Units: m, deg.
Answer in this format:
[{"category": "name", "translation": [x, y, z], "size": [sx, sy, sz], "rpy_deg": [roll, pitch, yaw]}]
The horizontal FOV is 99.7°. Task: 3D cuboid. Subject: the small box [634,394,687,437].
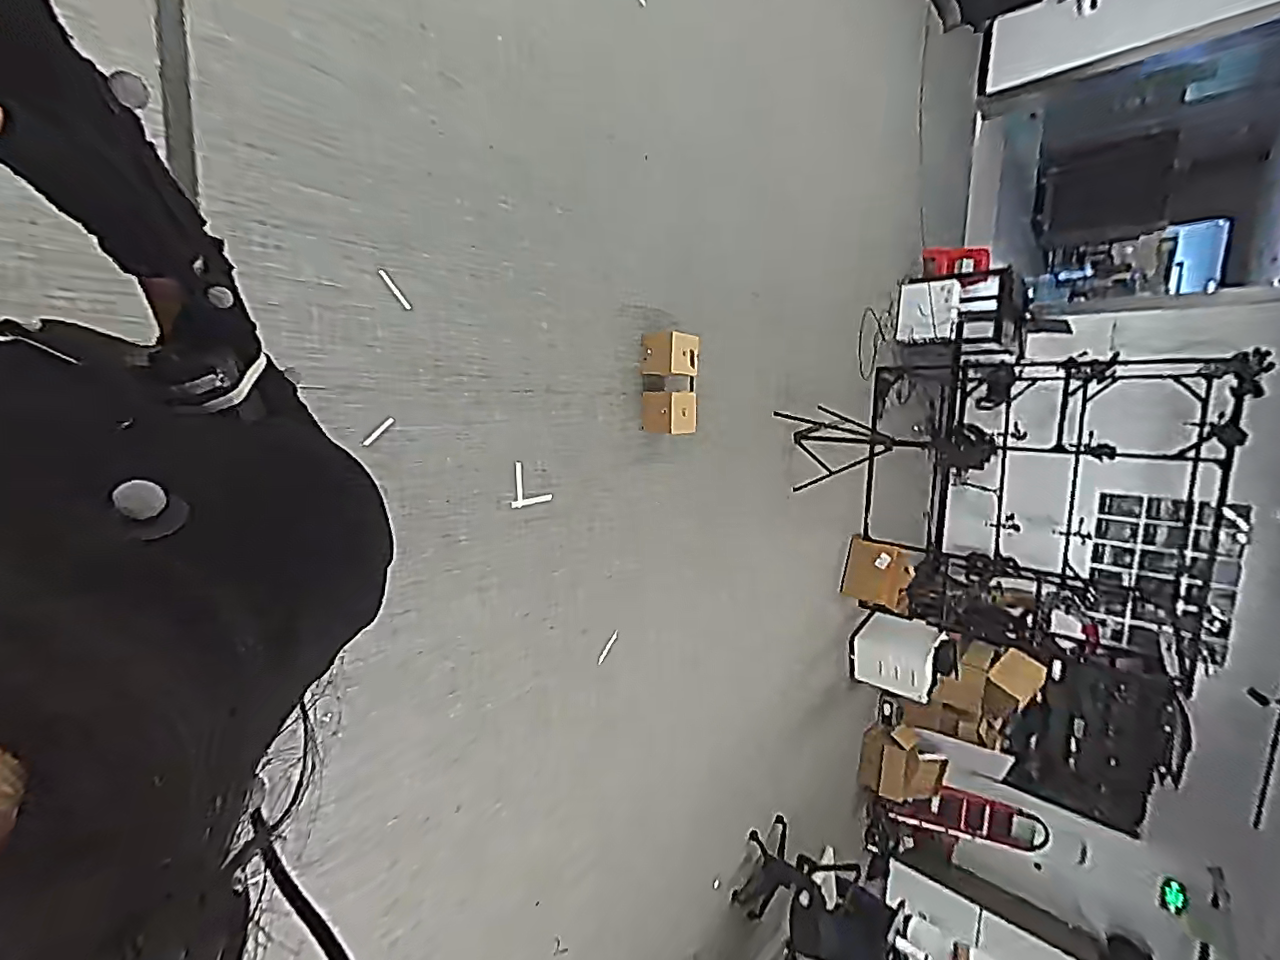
[{"category": "small box", "translation": [0.086, -0.280, 2.323], "size": [0.168, 0.176, 0.179], "rpy_deg": [-9, 104, -46]}]
